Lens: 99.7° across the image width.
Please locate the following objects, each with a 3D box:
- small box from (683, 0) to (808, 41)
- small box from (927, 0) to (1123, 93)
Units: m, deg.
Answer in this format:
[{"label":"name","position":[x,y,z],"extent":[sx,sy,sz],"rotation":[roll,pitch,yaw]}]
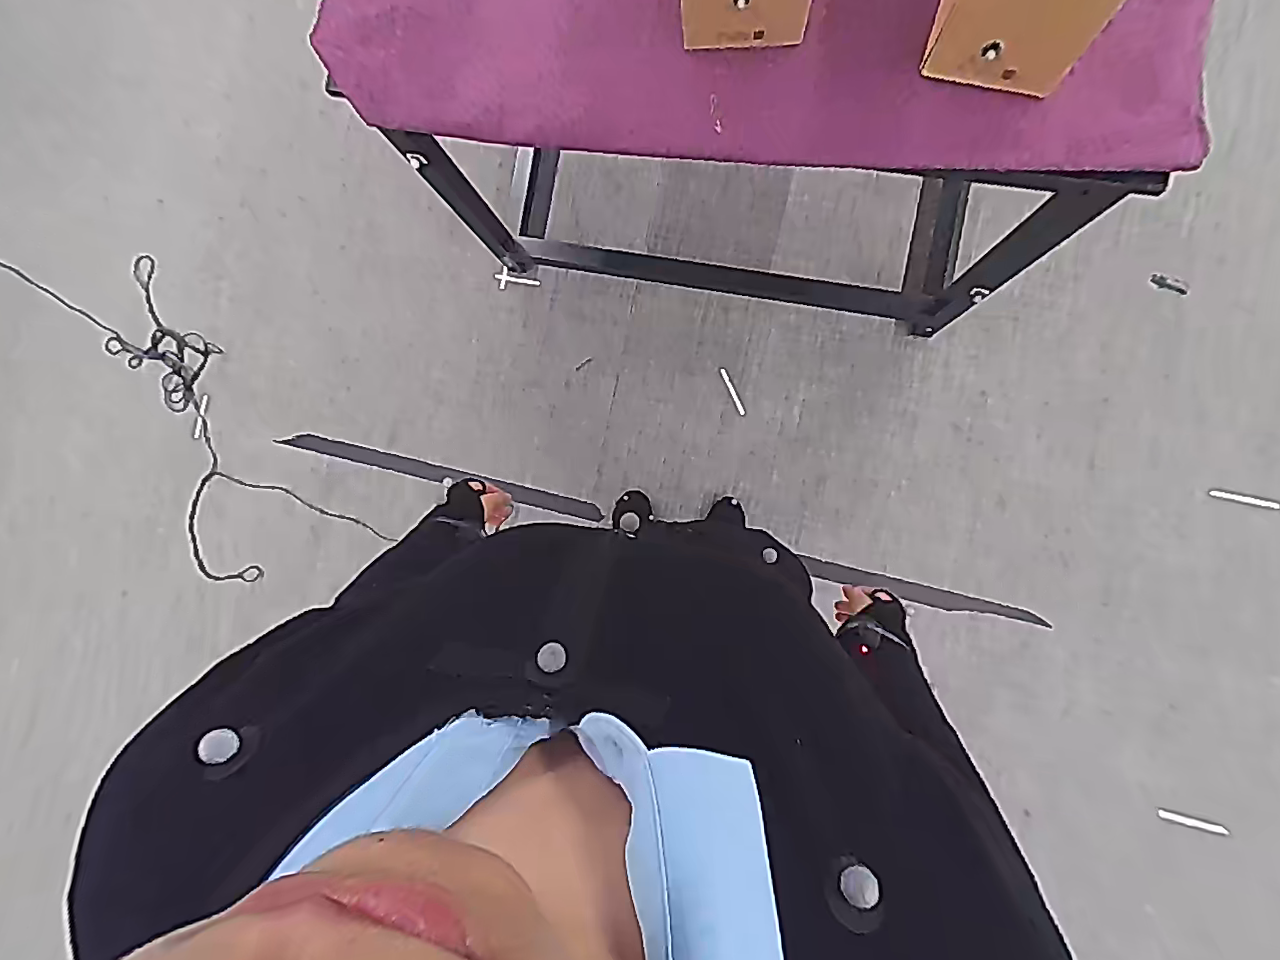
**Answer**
[{"label":"small box","position":[0.139,-0.701,0.686],"extent":[0.168,0.176,0.179],"rotation":[3,89,7]},{"label":"small box","position":[0.471,-0.616,0.642],"extent":[0.168,0.176,0.179],"rotation":[16,90,8]}]
